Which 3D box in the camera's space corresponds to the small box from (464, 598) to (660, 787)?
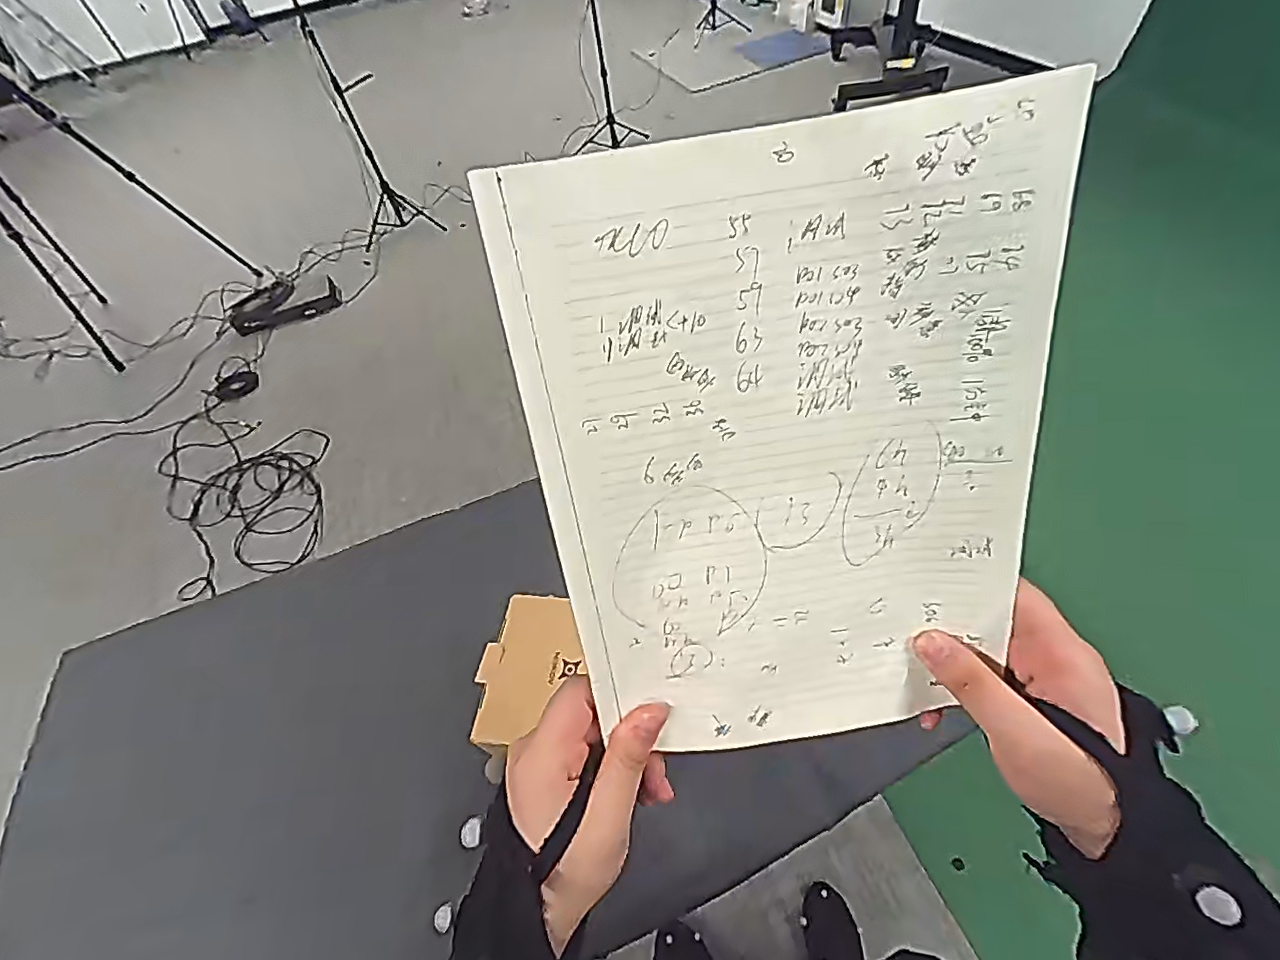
[{"bbox_3d":[-0.075,0.257,0.647,0.179,0.176,0.168,1,53,11],"label":"small box"}]
